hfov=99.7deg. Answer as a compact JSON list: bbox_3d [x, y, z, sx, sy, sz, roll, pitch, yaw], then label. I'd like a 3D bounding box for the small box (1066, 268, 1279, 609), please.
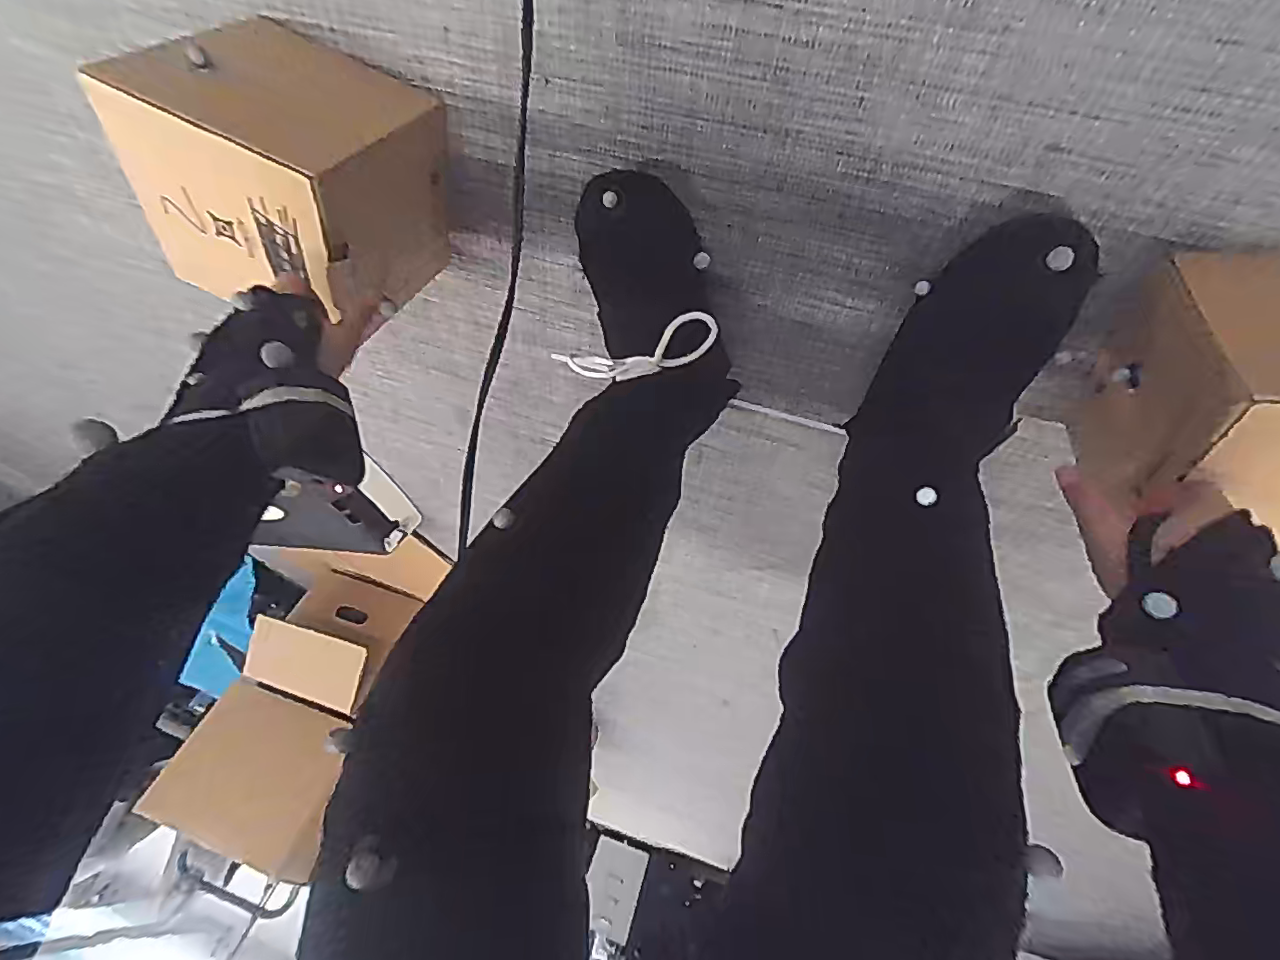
[{"bbox_3d":[0.438,-0.028,0.372,0.179,0.176,0.168,9,142,18],"label":"small box"}]
